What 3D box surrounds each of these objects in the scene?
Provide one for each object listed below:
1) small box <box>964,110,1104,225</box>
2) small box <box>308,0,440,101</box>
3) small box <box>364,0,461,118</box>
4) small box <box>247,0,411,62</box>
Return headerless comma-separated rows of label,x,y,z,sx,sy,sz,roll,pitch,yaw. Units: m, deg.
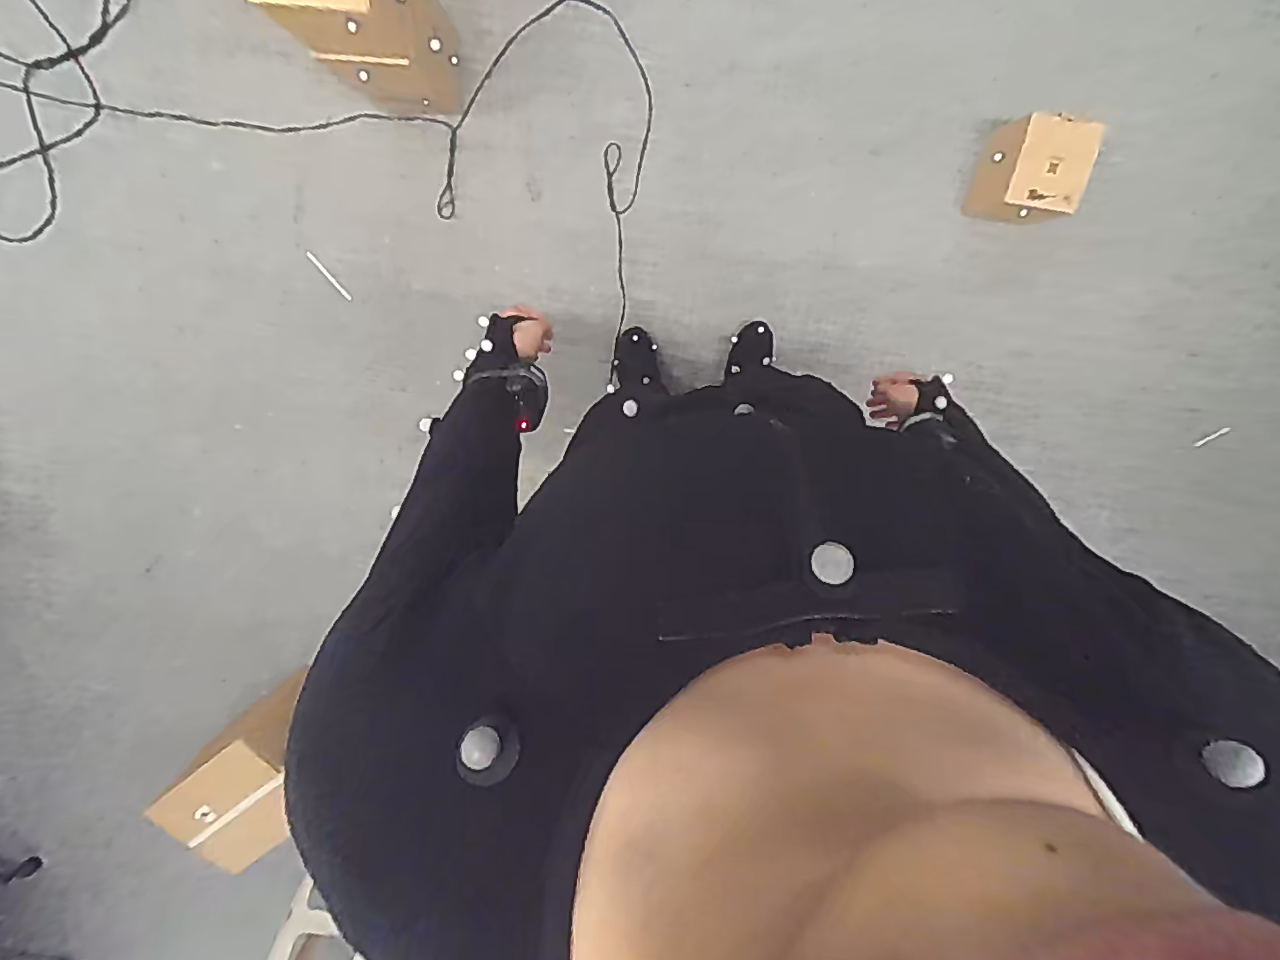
small box,0.876,-0.697,1.223,0.168,0.176,0.179,8,106,-3
small box,-0.487,-0.827,0.997,0.179,0.176,0.168,3,108,-2
small box,-0.491,-0.892,1.148,0.179,0.176,0.168,0,106,0
small box,-0.481,-0.784,0.841,0.179,0.176,0.168,2,107,-2
